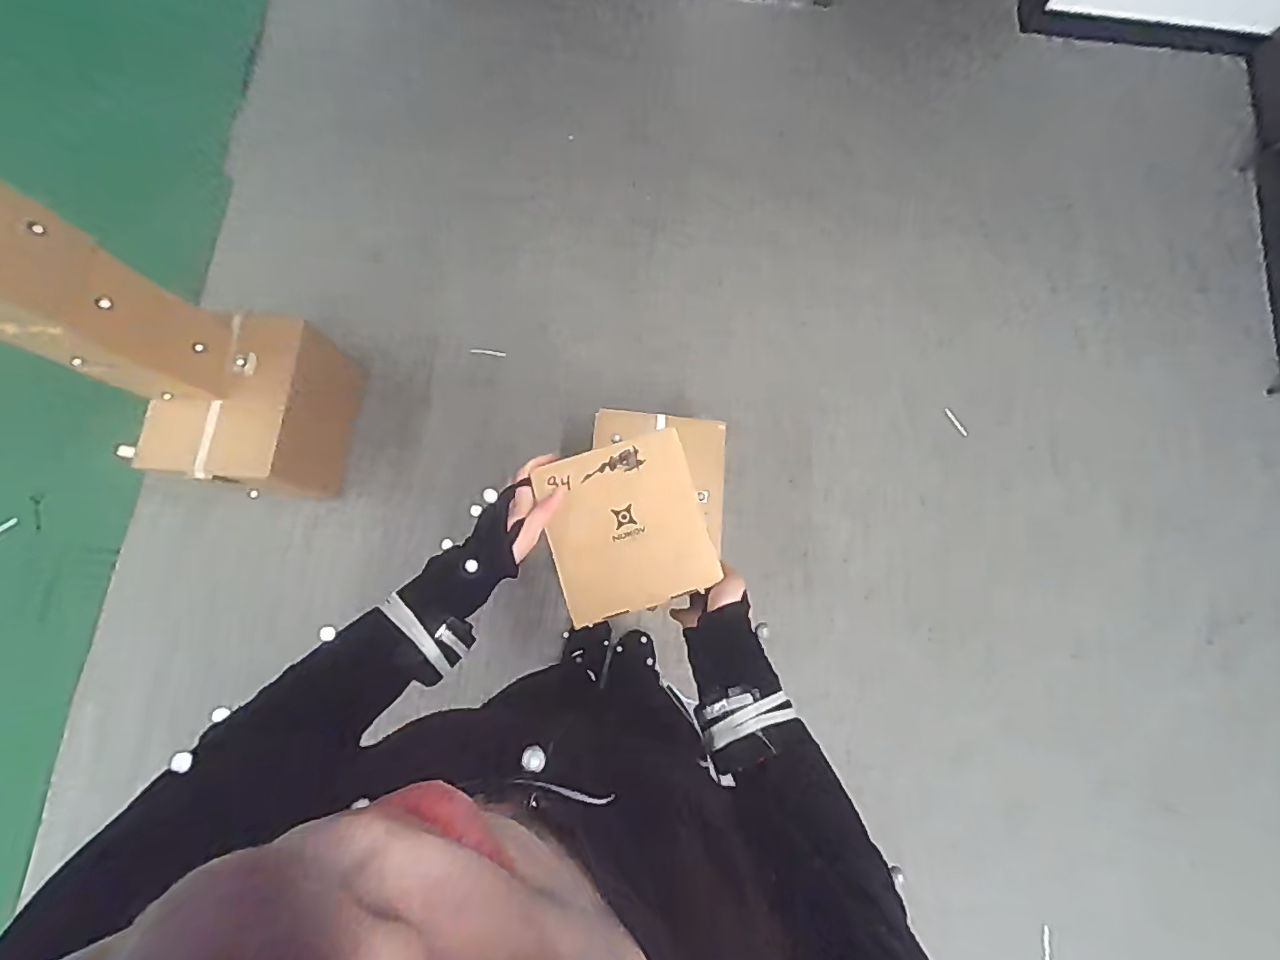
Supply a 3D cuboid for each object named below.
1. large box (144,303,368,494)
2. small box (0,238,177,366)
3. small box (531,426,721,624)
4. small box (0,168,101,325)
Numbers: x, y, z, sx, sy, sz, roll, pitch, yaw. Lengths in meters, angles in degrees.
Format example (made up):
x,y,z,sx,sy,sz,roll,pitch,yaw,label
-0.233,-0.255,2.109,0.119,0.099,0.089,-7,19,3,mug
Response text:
x,y,z,sx,sy,sz,roll,pitch,yaw,label
-0.962,-0.192,1.410,0.320,0.320,0.408,5,78,0,large box
-1.034,-0.335,1.022,0.168,0.176,0.179,4,80,3,small box
-0.014,0.051,0.647,0.168,0.176,0.179,-17,85,-1,small box
-1.032,-0.373,0.863,0.168,0.176,0.179,6,80,4,small box
